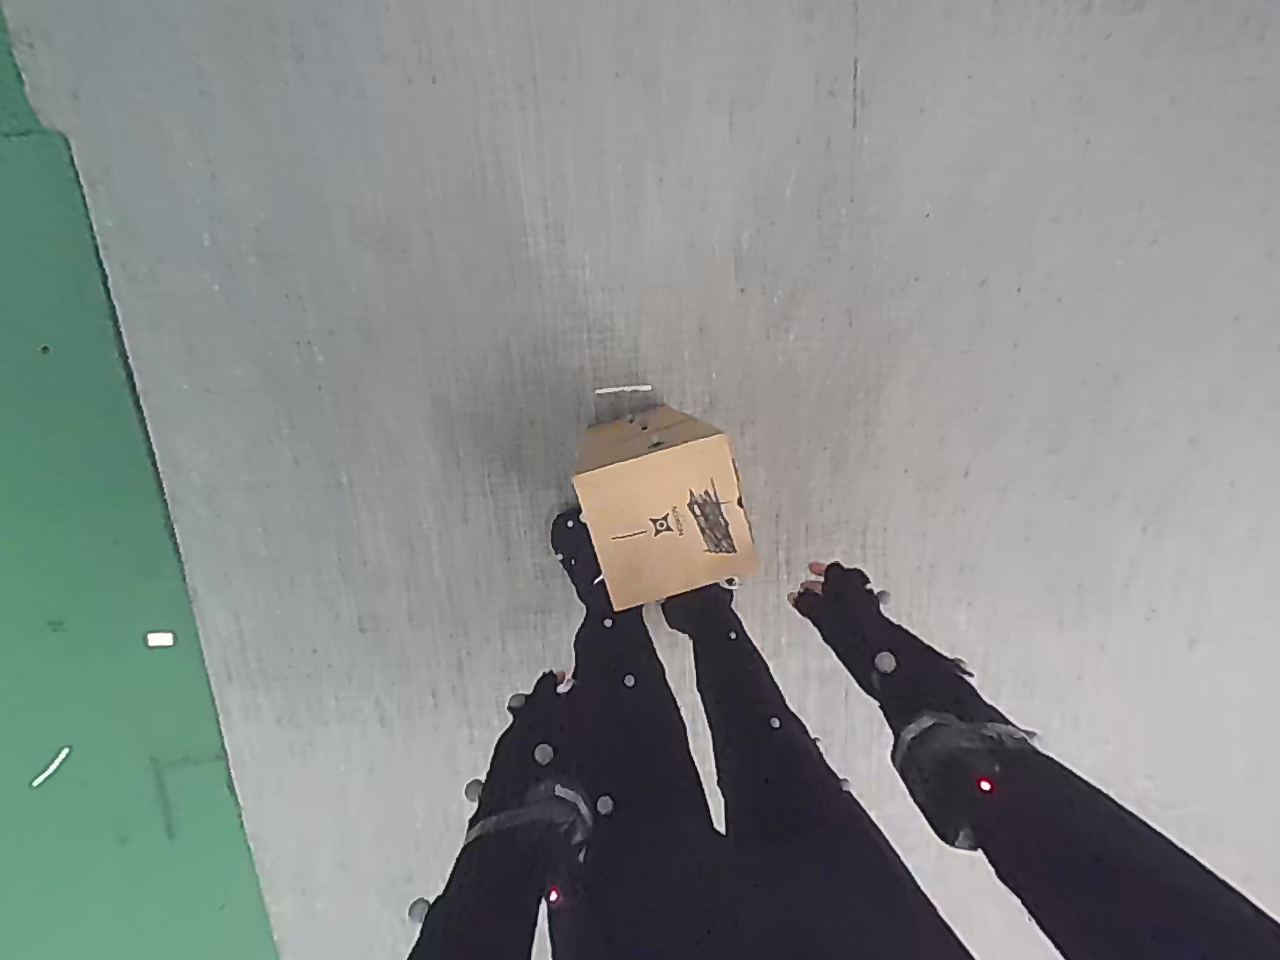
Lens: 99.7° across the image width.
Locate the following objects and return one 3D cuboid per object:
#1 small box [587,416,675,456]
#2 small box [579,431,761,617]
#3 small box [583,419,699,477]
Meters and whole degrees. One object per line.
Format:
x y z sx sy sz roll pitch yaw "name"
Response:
0.009 -0.016 1.002 0.179 0.176 0.168 -17 101 1 "small box"
0.031 0.042 0.679 0.179 0.176 0.168 -16 101 1 "small box"
0.019 0.012 0.843 0.179 0.176 0.168 -19 103 1 "small box"
